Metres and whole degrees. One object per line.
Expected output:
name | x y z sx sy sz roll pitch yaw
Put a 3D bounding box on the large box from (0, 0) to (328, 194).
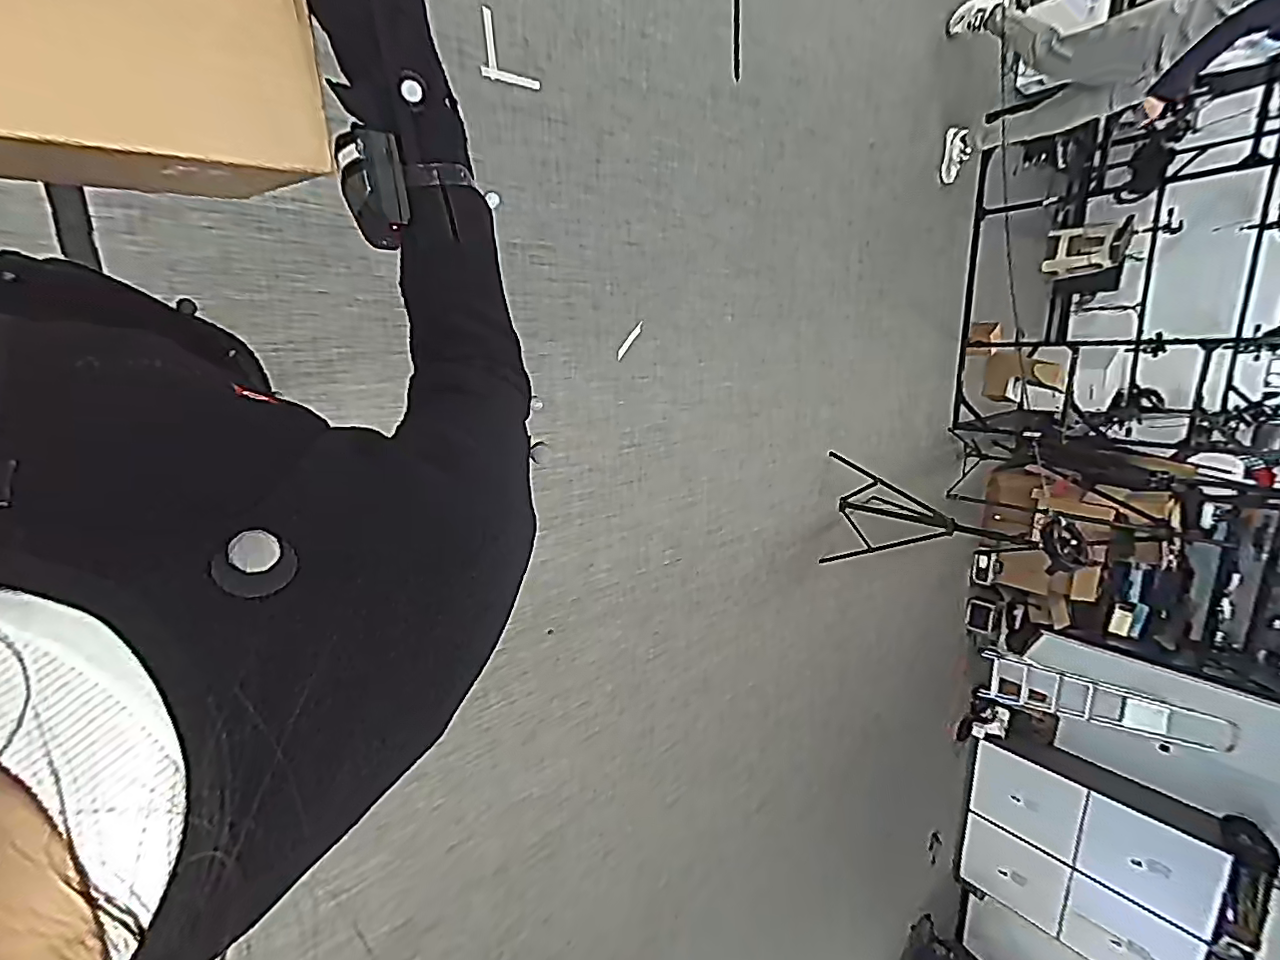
large box | -0.459 -0.349 0.290 0.408 0.320 0.320 -18 121 -40
